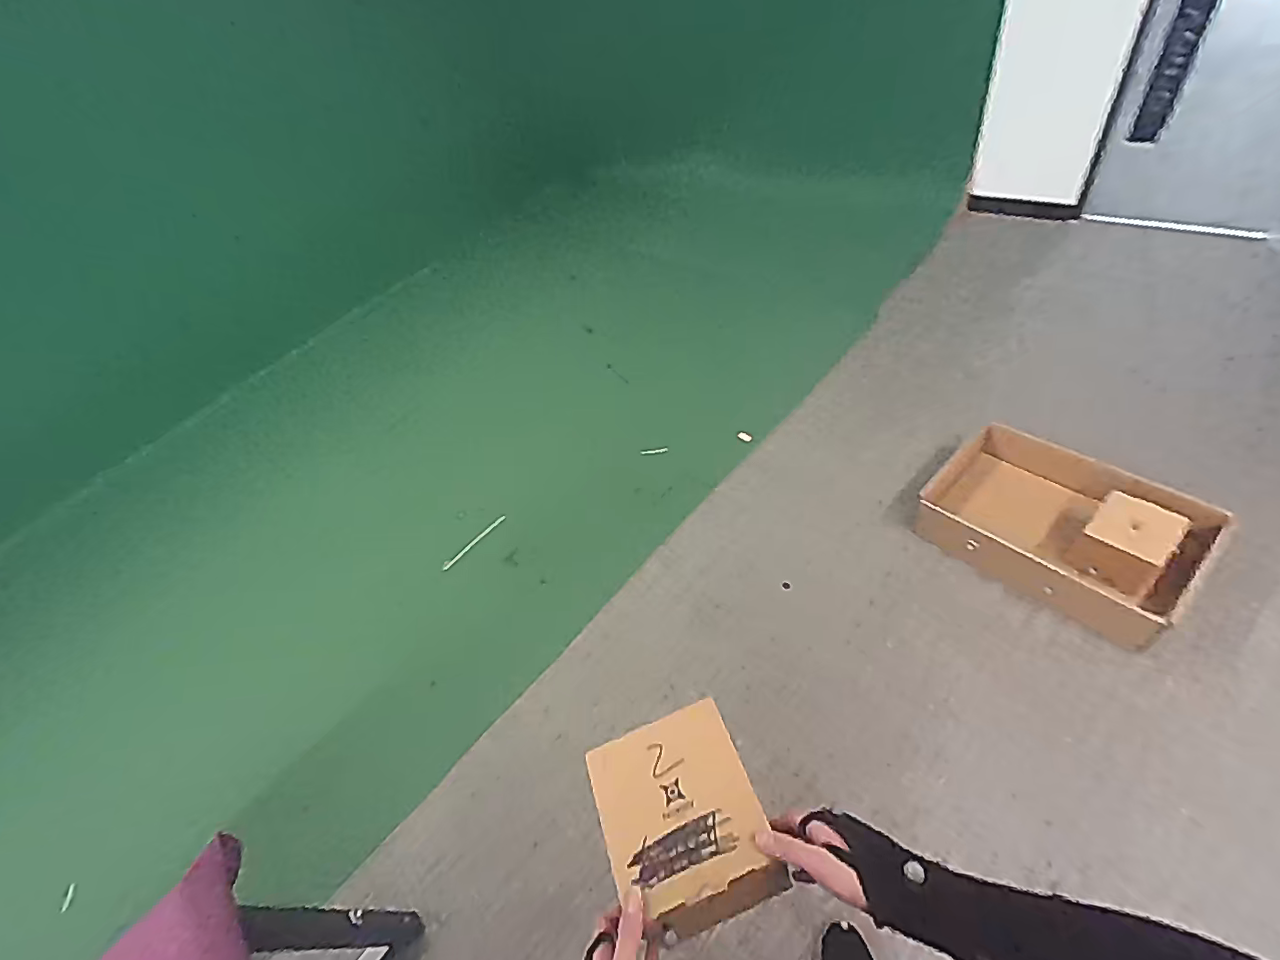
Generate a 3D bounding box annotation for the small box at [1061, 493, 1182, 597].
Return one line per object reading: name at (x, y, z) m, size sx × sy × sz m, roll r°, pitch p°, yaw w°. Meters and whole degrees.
small box at (1.265, 0.174, 1.436) m, size 0.179 × 0.176 × 0.168 m, roll -41°, pitch 50°, yaw -17°
